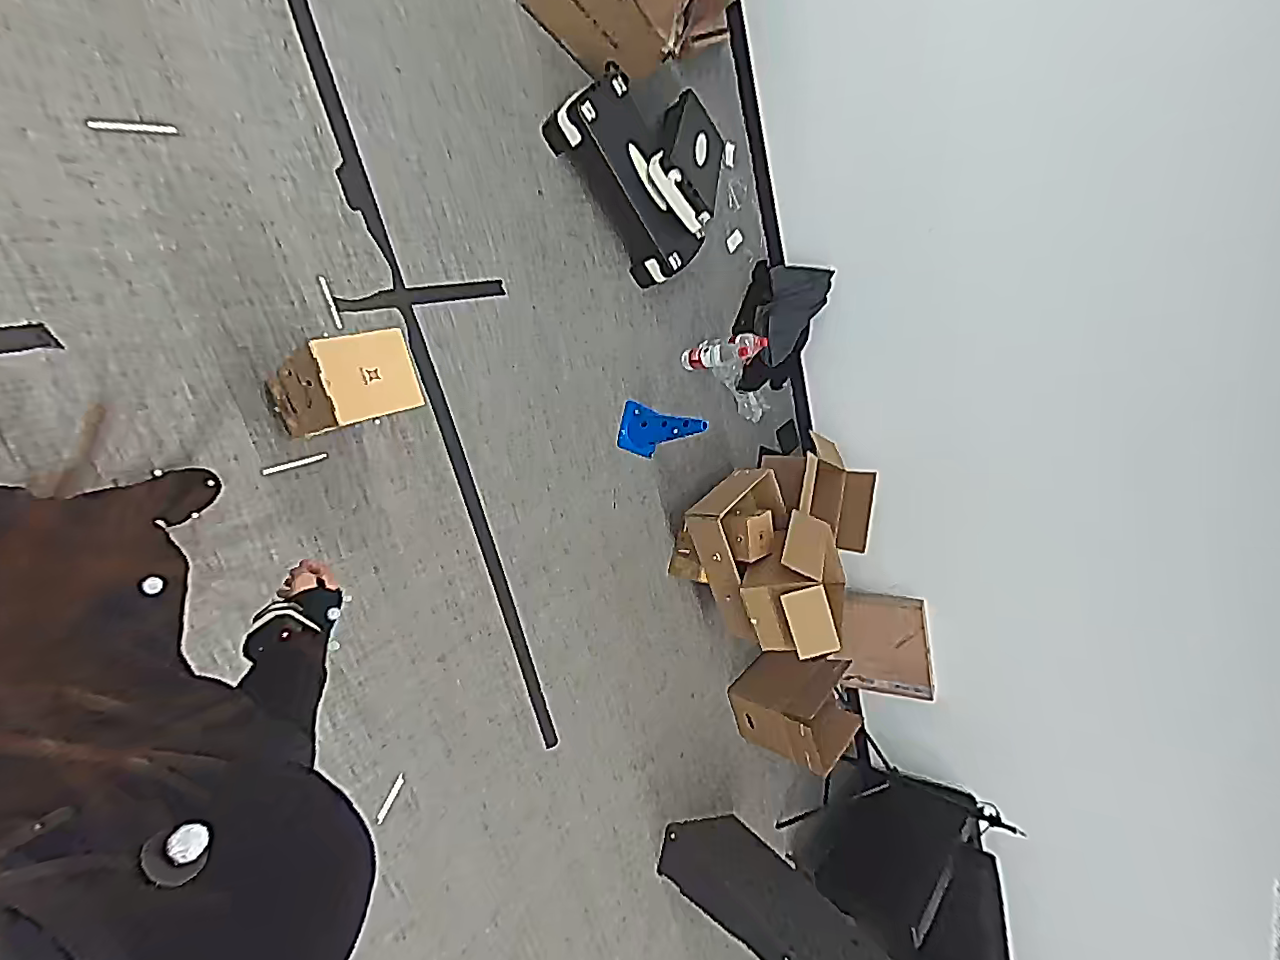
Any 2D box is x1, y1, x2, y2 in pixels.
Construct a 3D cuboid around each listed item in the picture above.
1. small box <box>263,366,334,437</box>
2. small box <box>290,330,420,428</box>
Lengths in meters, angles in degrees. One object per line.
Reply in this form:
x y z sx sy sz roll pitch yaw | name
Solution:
-0.821 -0.213 1.377 0.179 0.176 0.168 -28 110 -37 | small box
-0.599 -0.211 1.136 0.179 0.176 0.168 -25 108 -39 | small box
